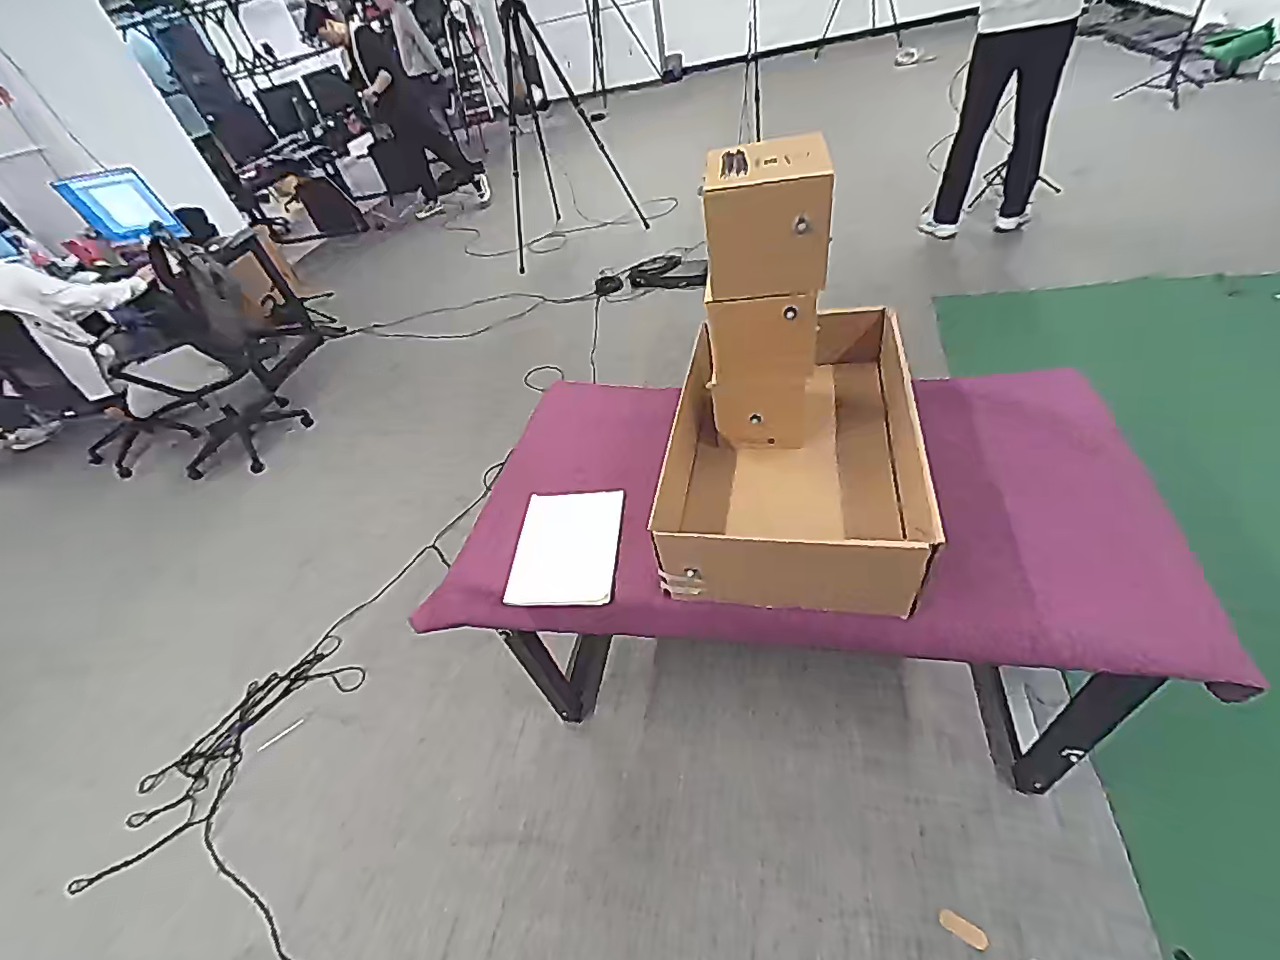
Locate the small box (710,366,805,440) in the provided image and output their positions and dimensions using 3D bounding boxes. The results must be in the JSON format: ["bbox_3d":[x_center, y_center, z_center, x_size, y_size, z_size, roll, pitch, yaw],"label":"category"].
[{"bbox_3d":[0.238,-0.193,1.069,0.168,0.176,0.179,1,49,16],"label":"small box"}]

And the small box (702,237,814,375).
[{"bbox_3d":[0.211,-0.299,0.950,0.179,0.176,0.168,-1,48,14],"label":"small box"}]
